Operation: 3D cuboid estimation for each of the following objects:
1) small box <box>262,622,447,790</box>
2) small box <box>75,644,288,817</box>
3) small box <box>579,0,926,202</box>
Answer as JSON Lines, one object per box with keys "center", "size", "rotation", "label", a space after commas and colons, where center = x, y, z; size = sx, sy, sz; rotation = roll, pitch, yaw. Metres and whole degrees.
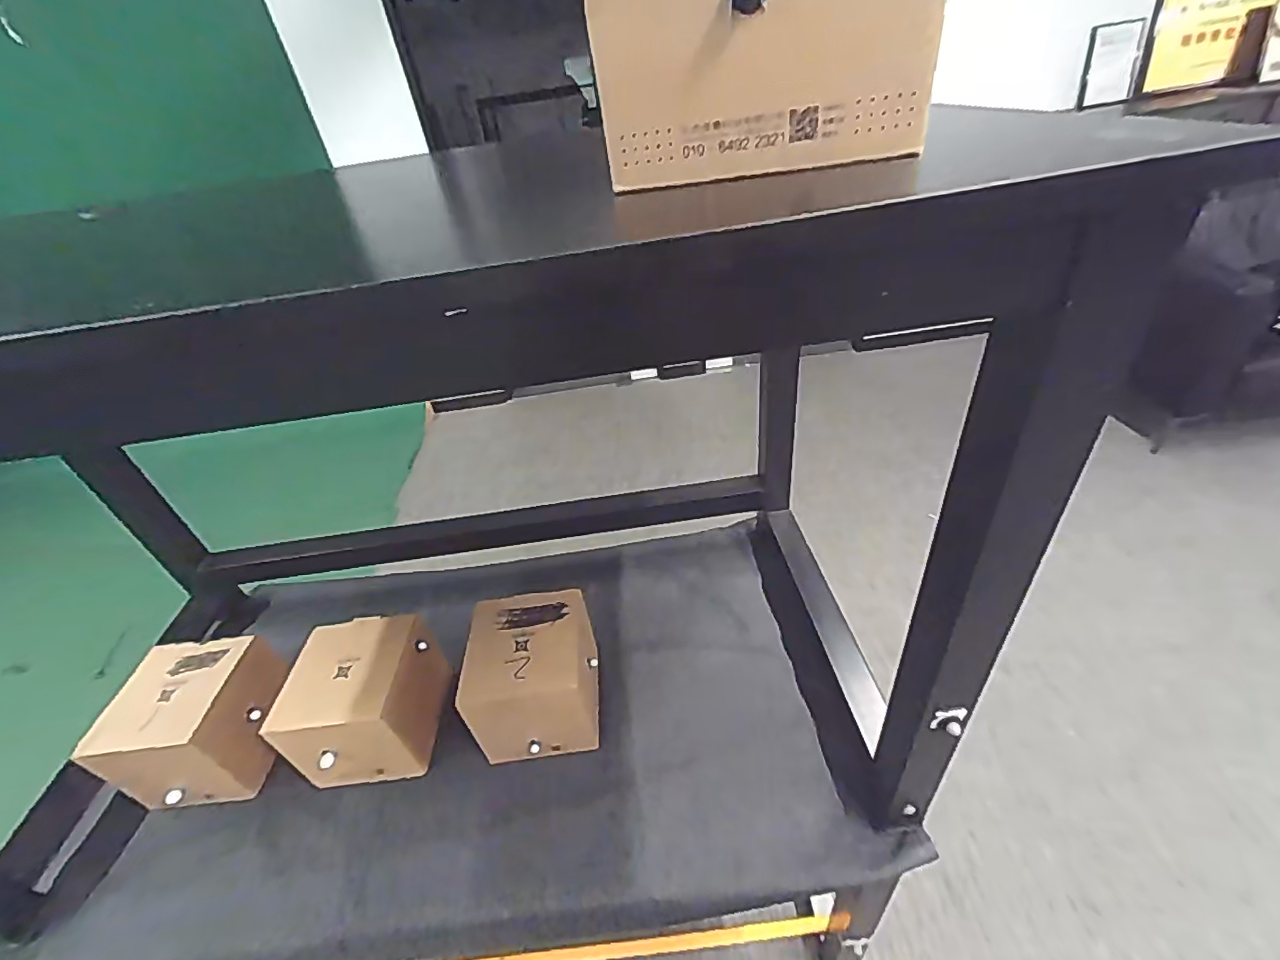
{"center": [-0.412, 0.347, 0.822], "size": [0.168, 0.176, 0.179], "rotation": [-8, 36, 1], "label": "small box"}
{"center": [-0.663, 0.380, 0.826], "size": [0.168, 0.176, 0.179], "rotation": [-8, 37, 2], "label": "small box"}
{"center": [0.062, -0.272, 0.316], "size": [0.168, 0.176, 0.179], "rotation": [-1, 37, 10], "label": "small box"}
